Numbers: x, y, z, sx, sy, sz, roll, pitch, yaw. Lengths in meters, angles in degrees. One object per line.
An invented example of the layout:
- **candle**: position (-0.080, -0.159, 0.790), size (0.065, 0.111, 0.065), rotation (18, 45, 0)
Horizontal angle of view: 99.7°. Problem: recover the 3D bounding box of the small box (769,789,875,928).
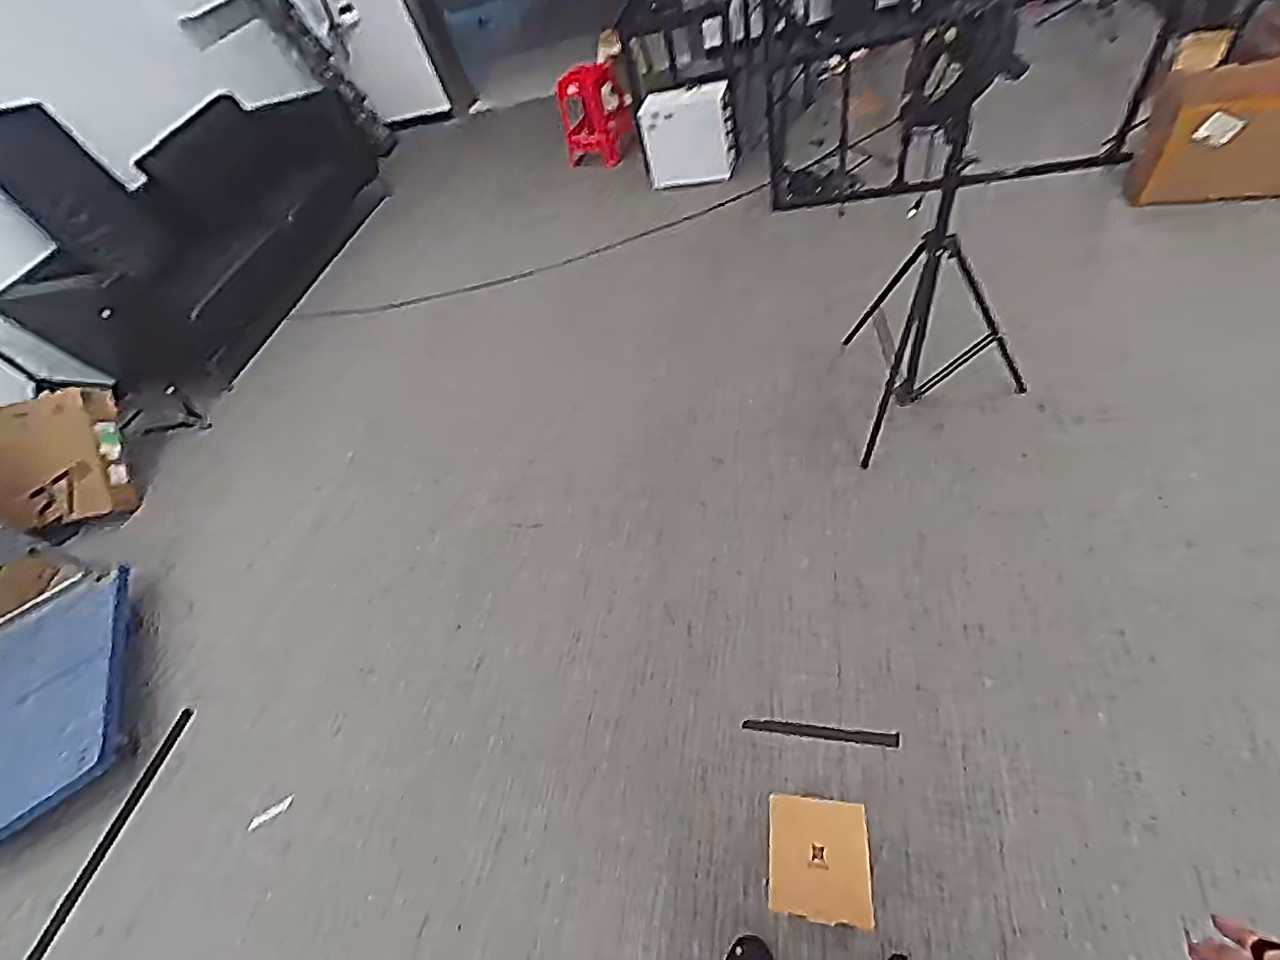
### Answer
- **small box**: position (0.322, 0.681, 0.981), size (0.168, 0.176, 0.179), rotation (-2, 55, 16)
